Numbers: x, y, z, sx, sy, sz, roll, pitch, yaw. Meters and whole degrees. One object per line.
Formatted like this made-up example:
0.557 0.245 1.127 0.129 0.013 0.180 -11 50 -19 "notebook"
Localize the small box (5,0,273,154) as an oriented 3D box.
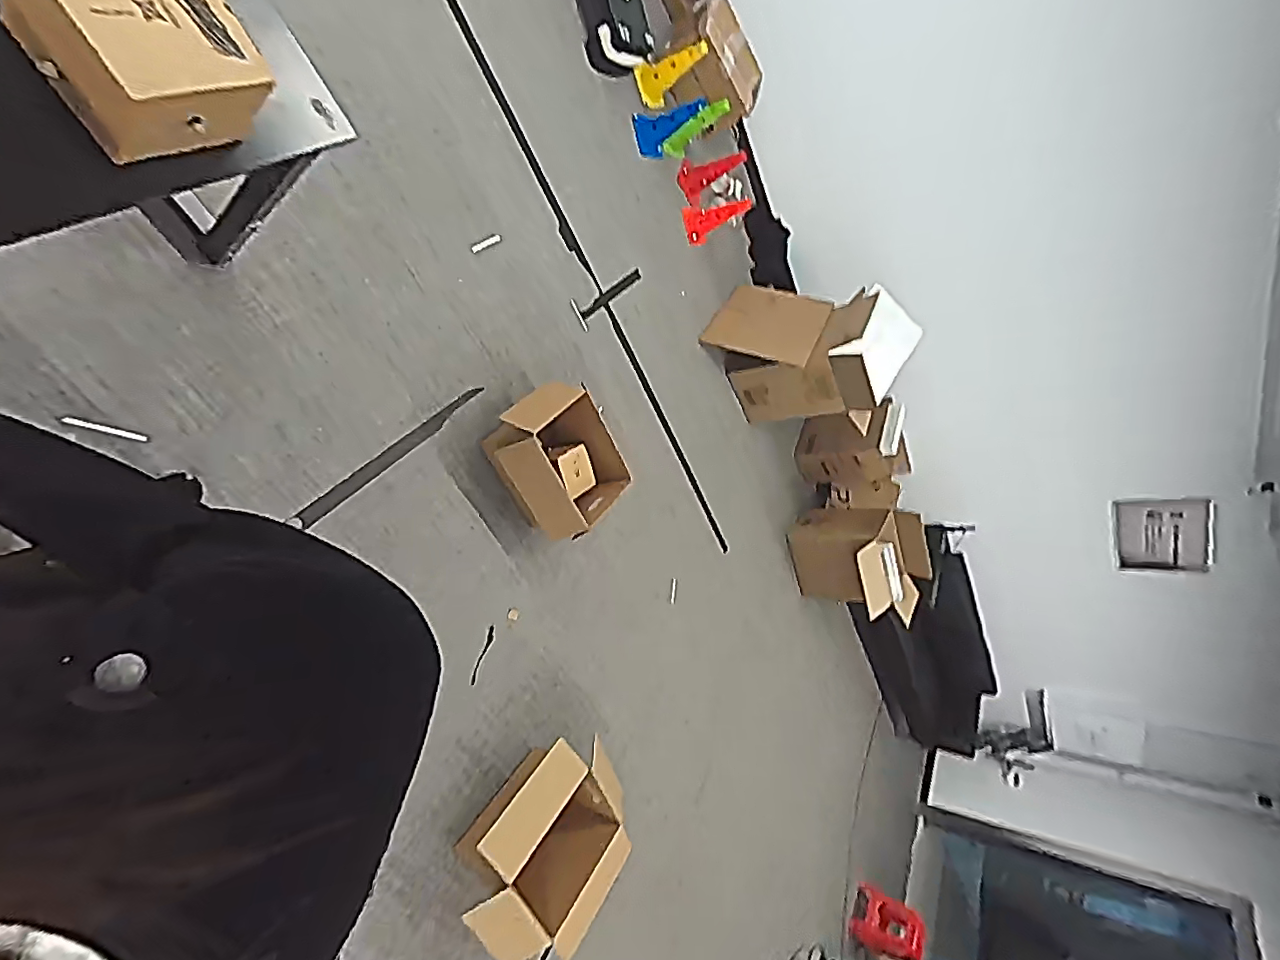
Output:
-0.606 -0.532 0.657 0.179 0.176 0.168 -50 123 -38 "small box"
